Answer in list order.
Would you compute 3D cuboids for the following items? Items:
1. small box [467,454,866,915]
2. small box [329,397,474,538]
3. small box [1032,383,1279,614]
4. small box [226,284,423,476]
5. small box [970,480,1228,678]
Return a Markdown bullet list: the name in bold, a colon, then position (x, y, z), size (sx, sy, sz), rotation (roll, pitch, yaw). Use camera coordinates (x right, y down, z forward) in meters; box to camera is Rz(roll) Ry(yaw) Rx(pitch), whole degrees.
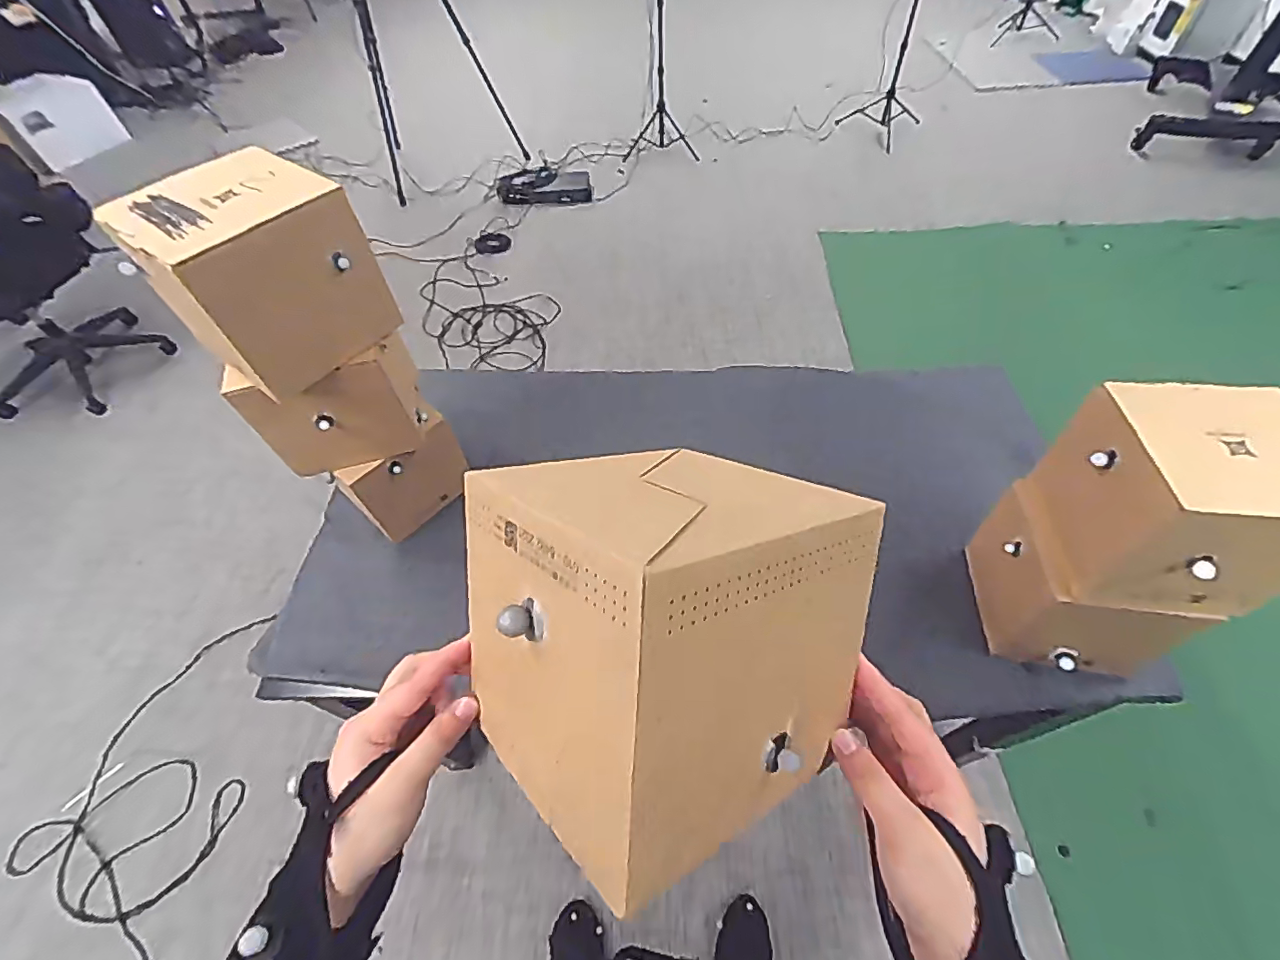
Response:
- **small box**: position (0.011, 0.083, 0.324), size (0.179, 0.176, 0.168), rotation (-9, 19, -37)
- **small box**: position (-0.401, -0.038, 0.871), size (0.179, 0.176, 0.168), rotation (35, 63, 25)
- **small box**: position (0.553, 0.021, 0.559), size (0.168, 0.176, 0.179), rotation (4, 49, 8)
- **small box**: position (-0.409, -0.132, 0.735), size (0.179, 0.176, 0.168), rotation (-16, 55, -7)
- **small box**: position (0.548, 0.125, 0.684), size (0.168, 0.176, 0.179), rotation (5, 51, 10)
